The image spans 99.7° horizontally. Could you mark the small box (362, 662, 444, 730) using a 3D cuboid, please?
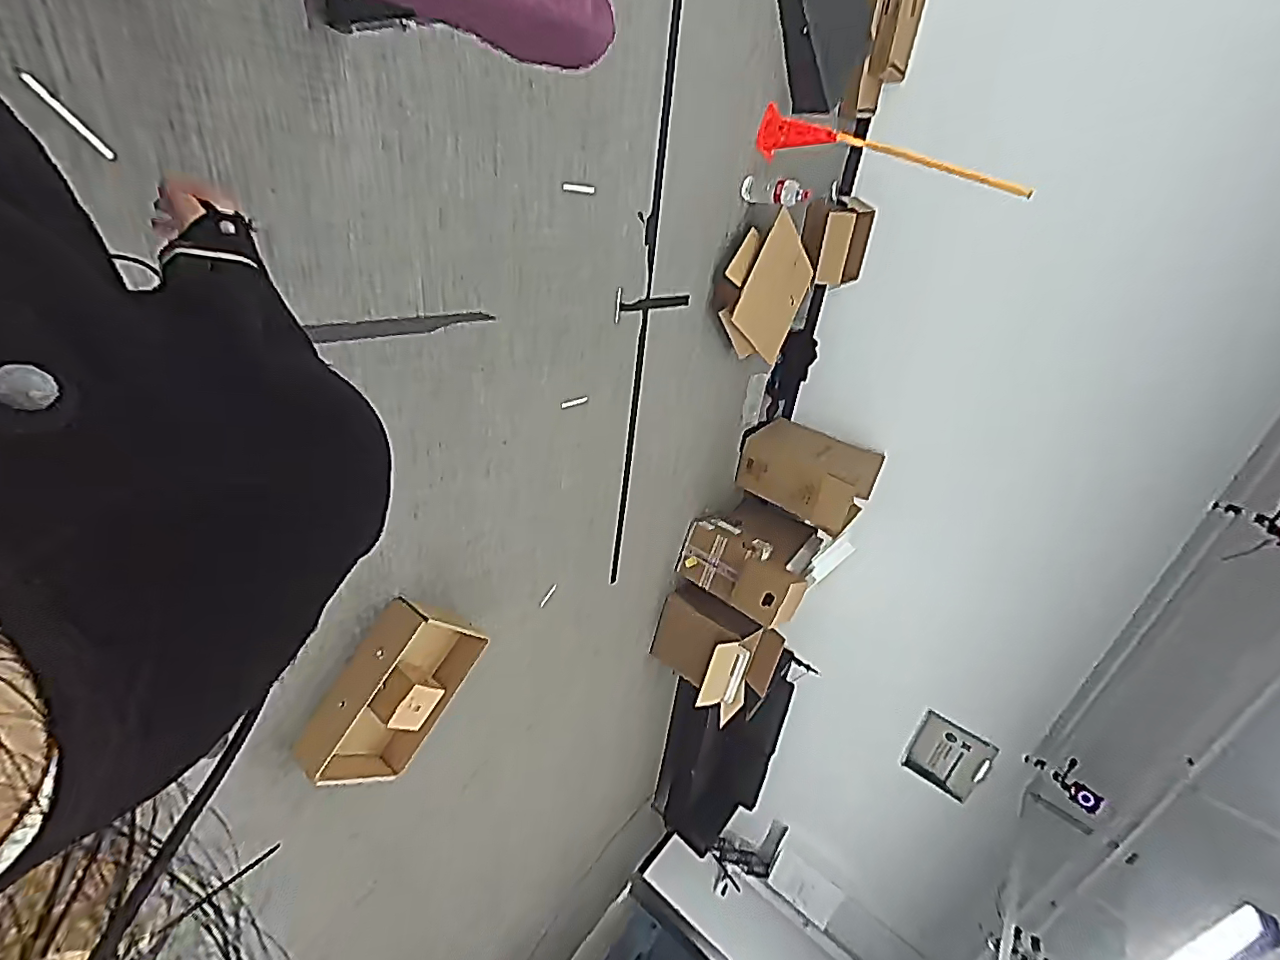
[{"bbox_3d":[-0.868,0.789,1.981,0.168,0.176,0.179,-56,149,-14],"label":"small box"}]
